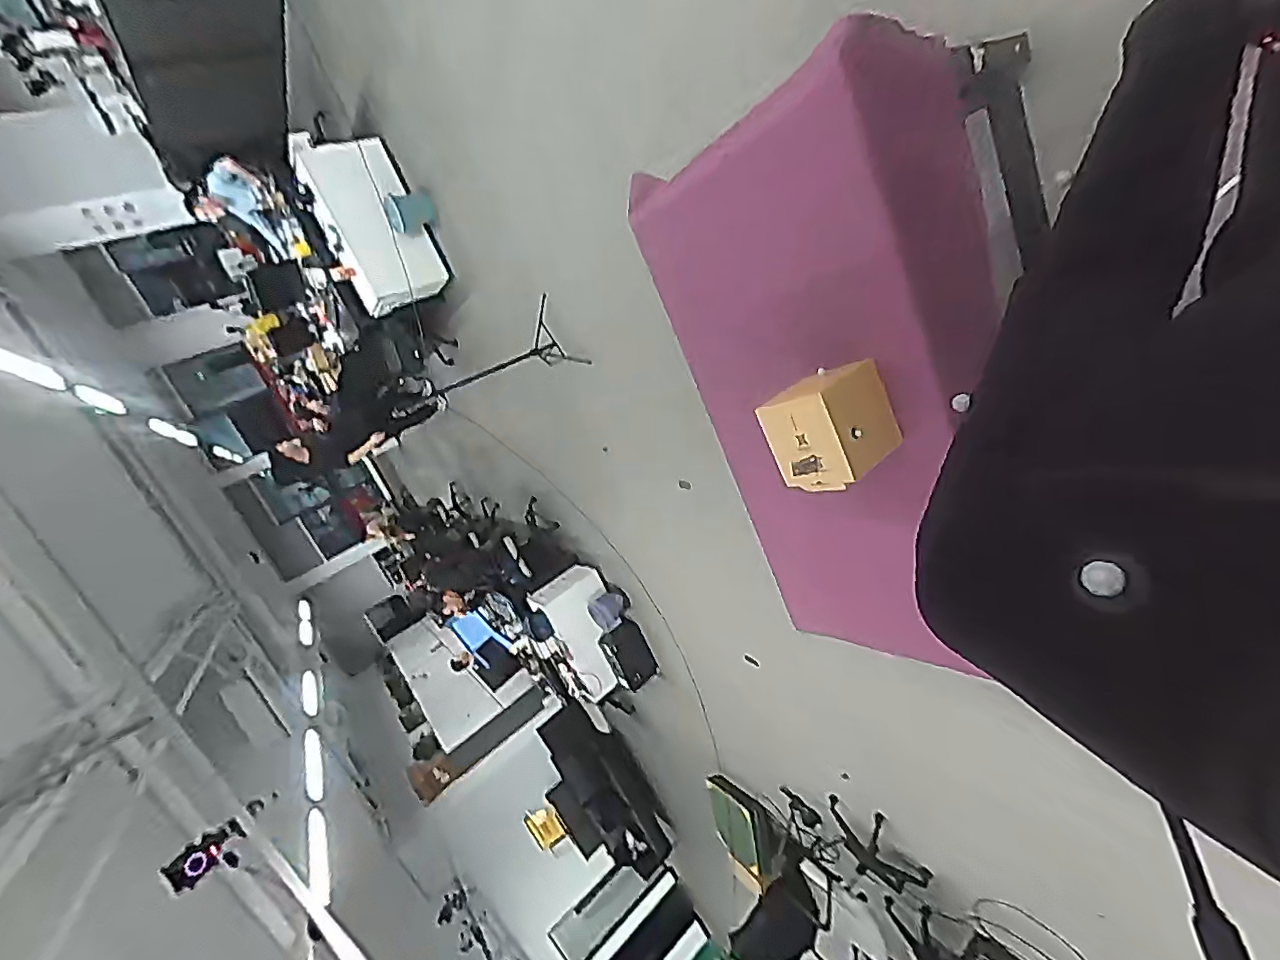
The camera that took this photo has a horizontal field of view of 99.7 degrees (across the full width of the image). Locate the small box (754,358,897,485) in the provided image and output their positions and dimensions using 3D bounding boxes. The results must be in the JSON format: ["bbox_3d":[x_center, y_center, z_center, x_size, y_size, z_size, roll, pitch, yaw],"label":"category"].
[{"bbox_3d":[0.360,-0.109,1.040,0.168,0.176,0.179,-8,111,59],"label":"small box"}]
